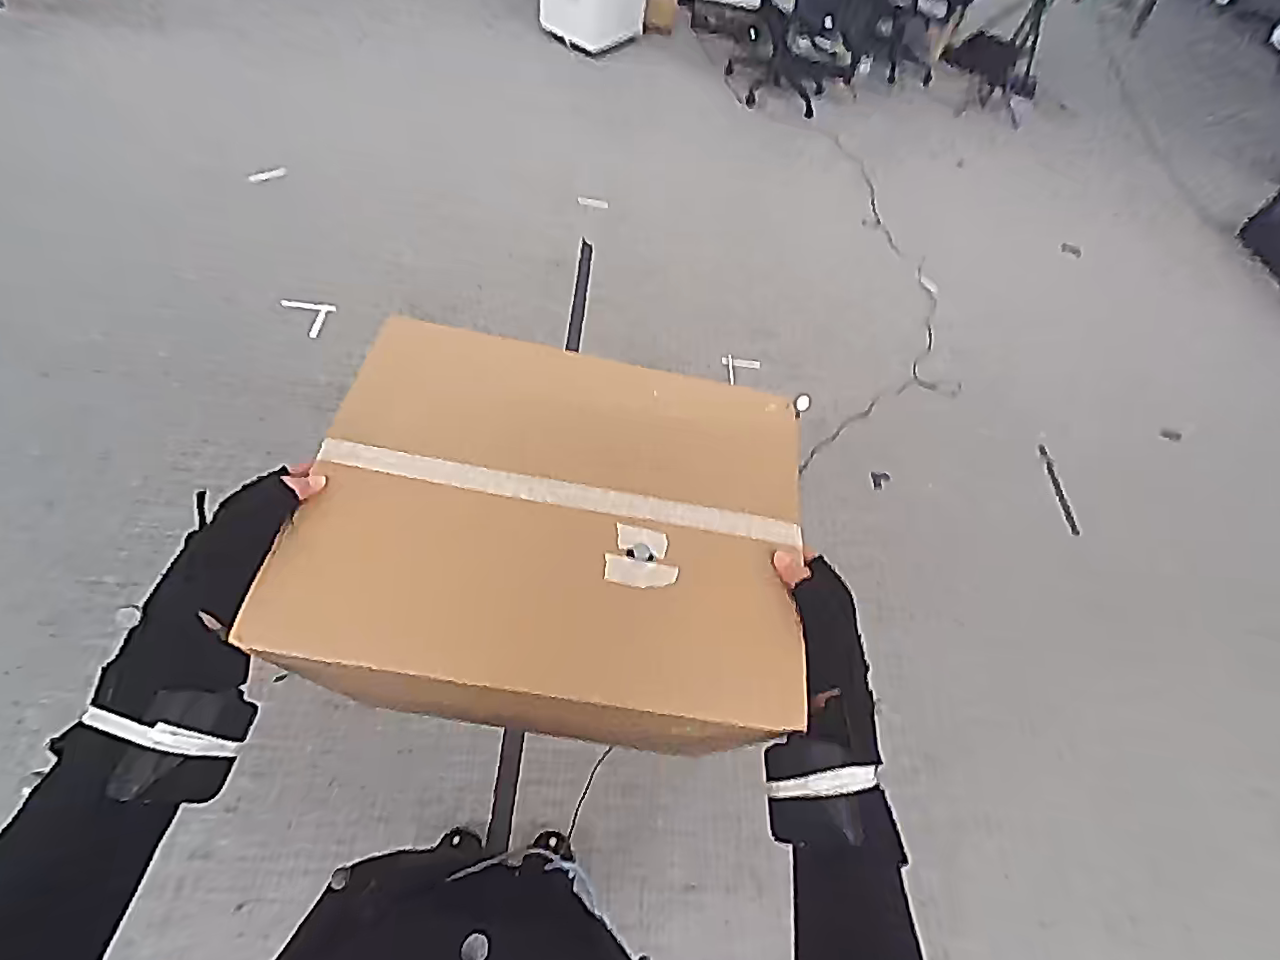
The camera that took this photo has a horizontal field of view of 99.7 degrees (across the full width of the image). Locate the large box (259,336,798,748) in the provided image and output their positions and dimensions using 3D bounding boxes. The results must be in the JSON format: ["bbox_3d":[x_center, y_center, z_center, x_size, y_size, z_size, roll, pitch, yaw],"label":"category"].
[{"bbox_3d":[-0.085,0.094,0.595,0.408,0.320,0.320,11,60,-5],"label":"large box"}]
